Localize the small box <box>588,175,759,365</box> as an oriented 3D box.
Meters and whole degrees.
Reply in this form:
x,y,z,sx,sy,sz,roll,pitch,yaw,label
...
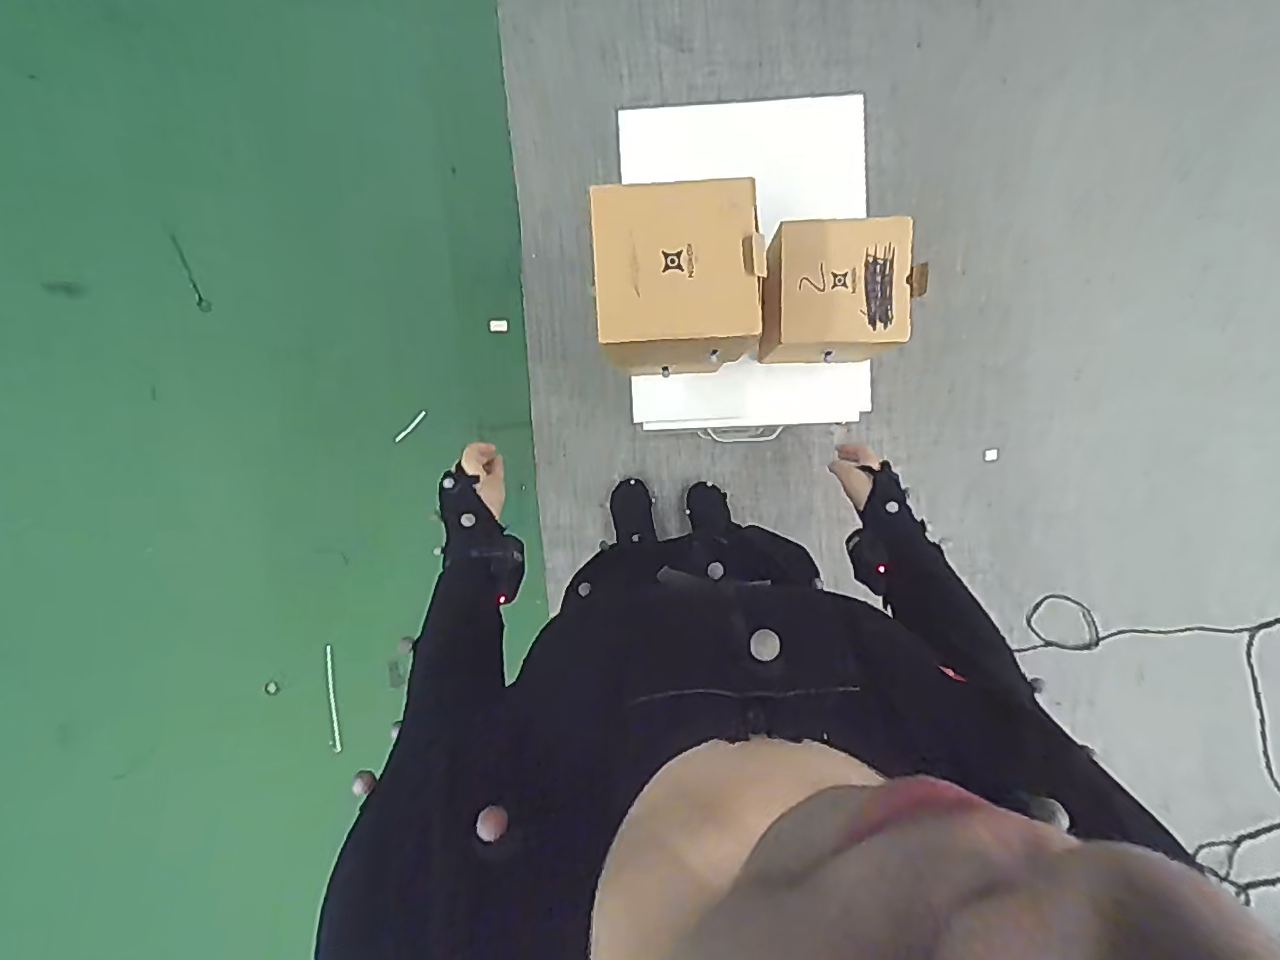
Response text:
x,y,z,sx,sy,sz,roll,pitch,yaw,label
0.036,-0.236,0.645,0.179,0.176,0.168,-3,92,2,small box
